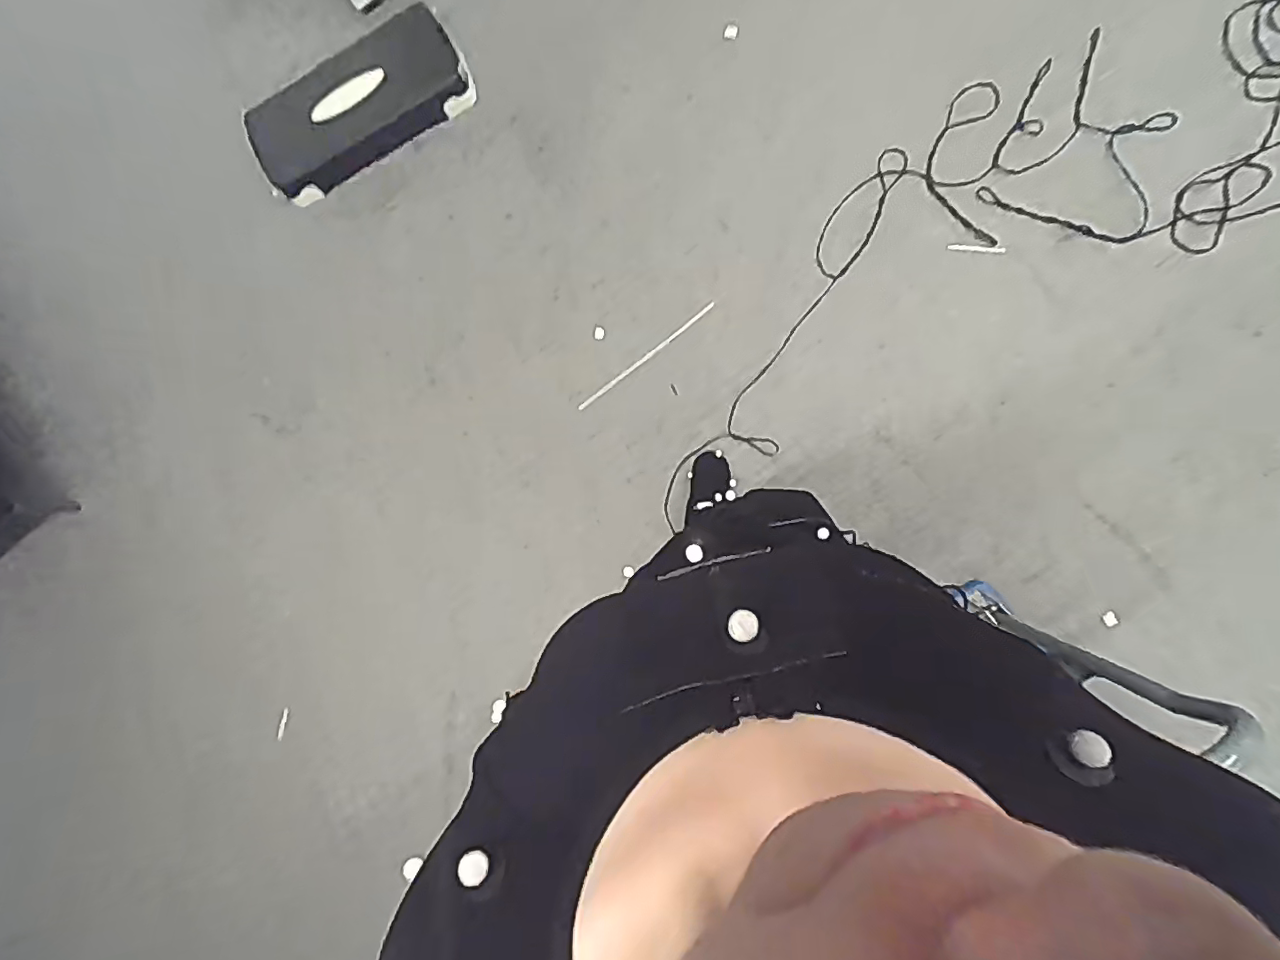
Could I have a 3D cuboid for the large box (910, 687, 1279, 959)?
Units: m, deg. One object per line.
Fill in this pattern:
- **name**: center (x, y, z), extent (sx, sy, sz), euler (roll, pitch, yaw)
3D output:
- **large box**: center (0.841, 0.688, 1.067), extent (0.408, 0.320, 0.320), euler (-34, 83, 7)
